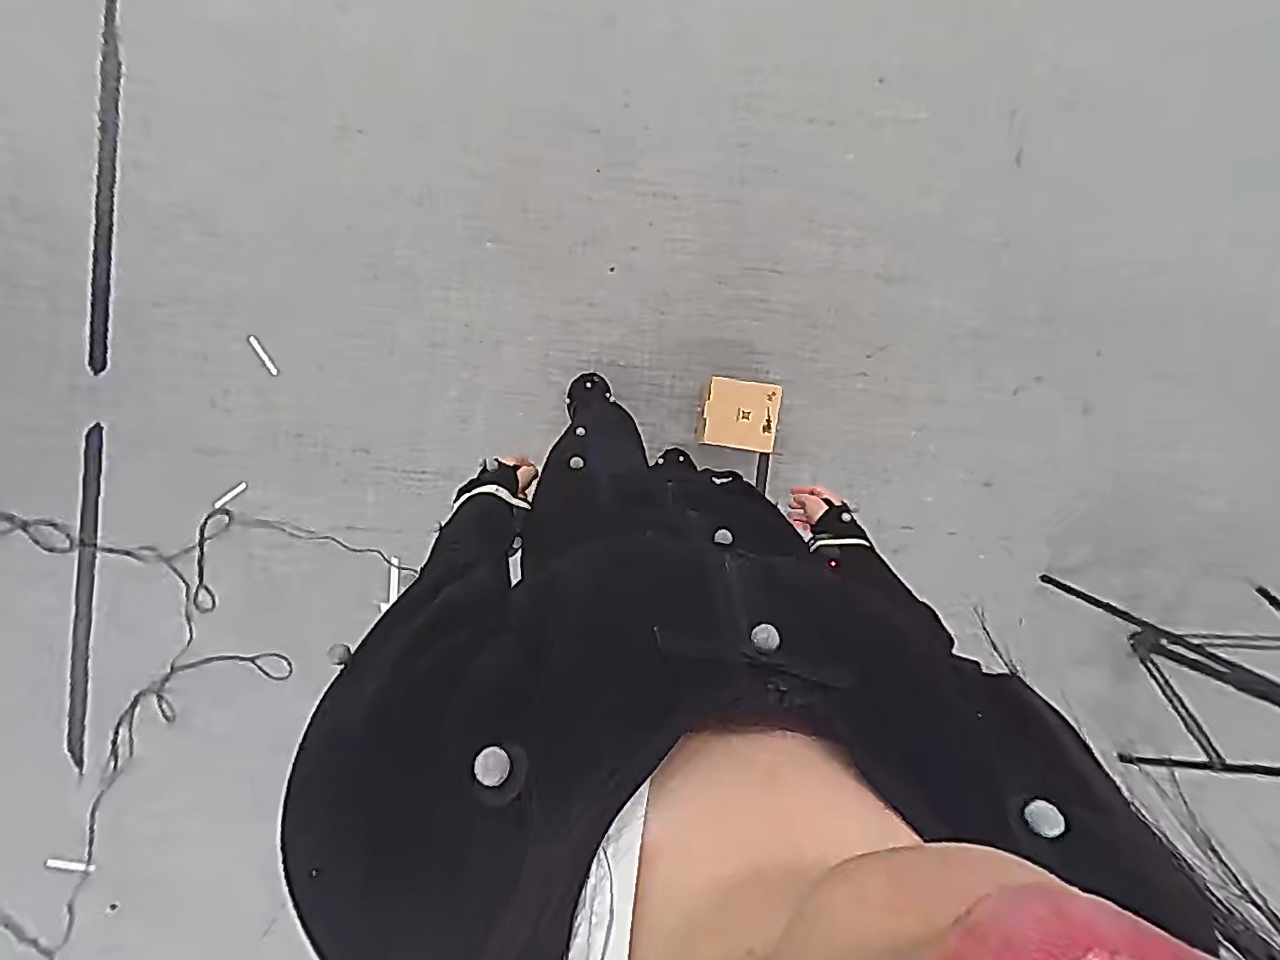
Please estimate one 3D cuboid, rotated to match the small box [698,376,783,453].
[{"bbox_3d":[0.251,-0.165,1.394,0.179,0.176,0.168,9,95,1],"label":"small box"}]
